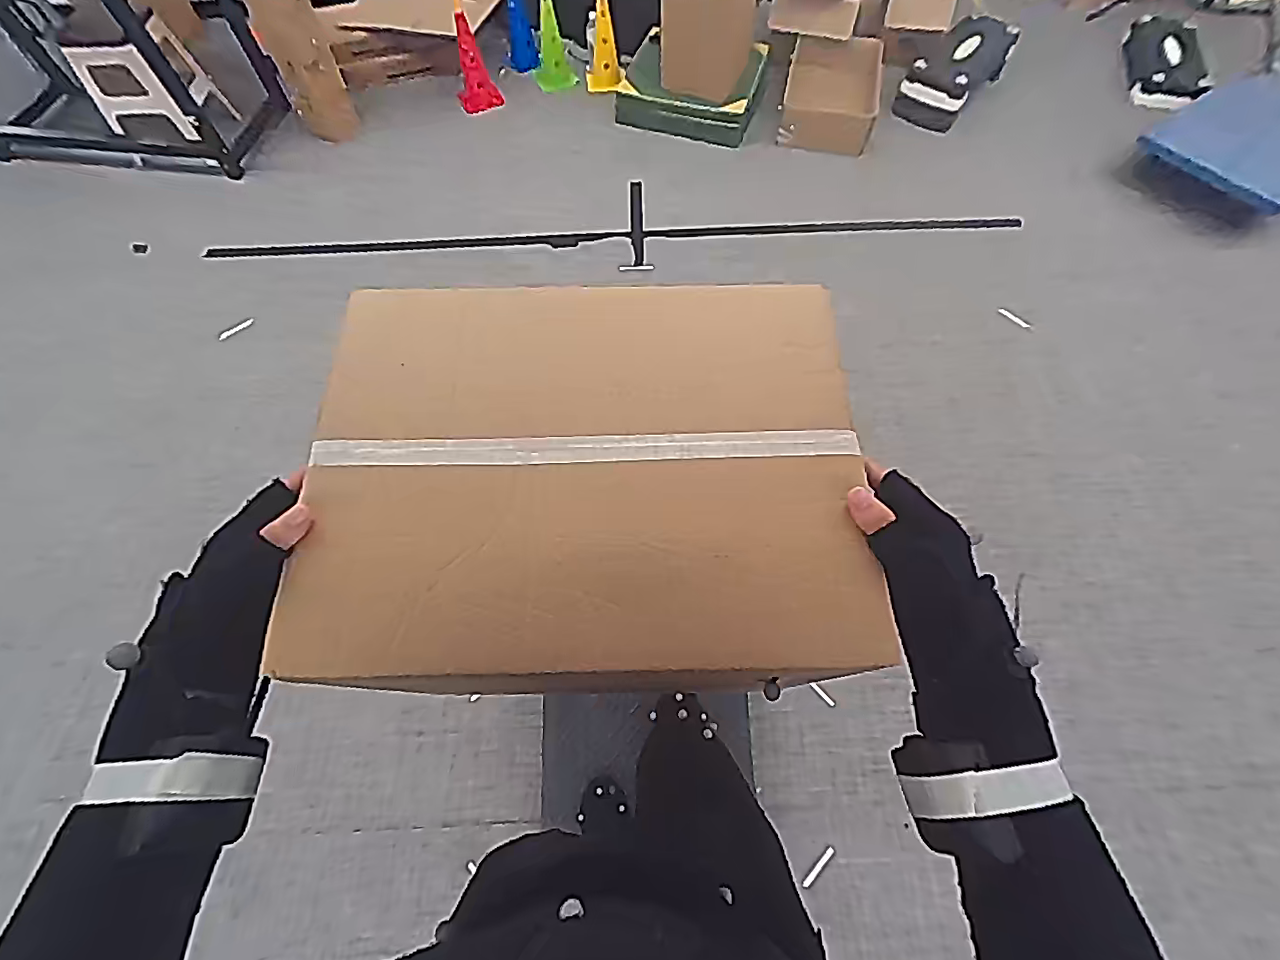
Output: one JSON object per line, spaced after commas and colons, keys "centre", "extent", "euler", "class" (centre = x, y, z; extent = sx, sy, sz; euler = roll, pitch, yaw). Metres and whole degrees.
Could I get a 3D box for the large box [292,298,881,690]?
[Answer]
{"centre": [-0.037, 0.043, 0.555], "extent": [0.408, 0.320, 0.320], "euler": [-1, 66, 0], "class": "large box"}
